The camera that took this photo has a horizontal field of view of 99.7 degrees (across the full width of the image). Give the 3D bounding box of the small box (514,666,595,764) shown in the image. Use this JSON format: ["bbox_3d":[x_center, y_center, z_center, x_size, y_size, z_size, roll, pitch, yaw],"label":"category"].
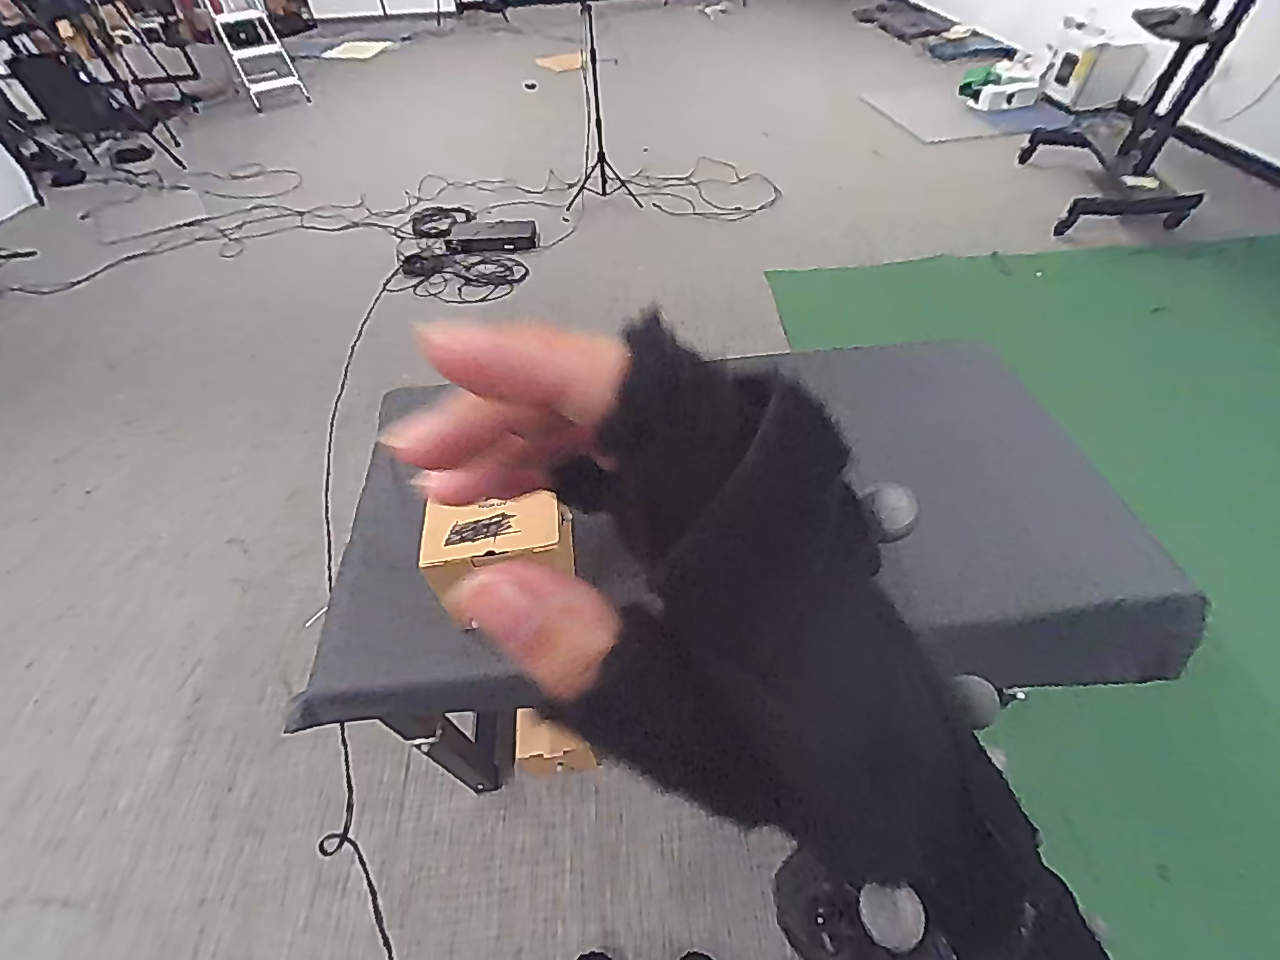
[{"bbox_3d":[-0.200,0.568,1.294,0.168,0.176,0.179,-6,51,-2],"label":"small box"}]

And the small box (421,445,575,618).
[{"bbox_3d":[-0.184,0.077,0.750,0.168,0.176,0.179,-7,48,-4],"label":"small box"}]
